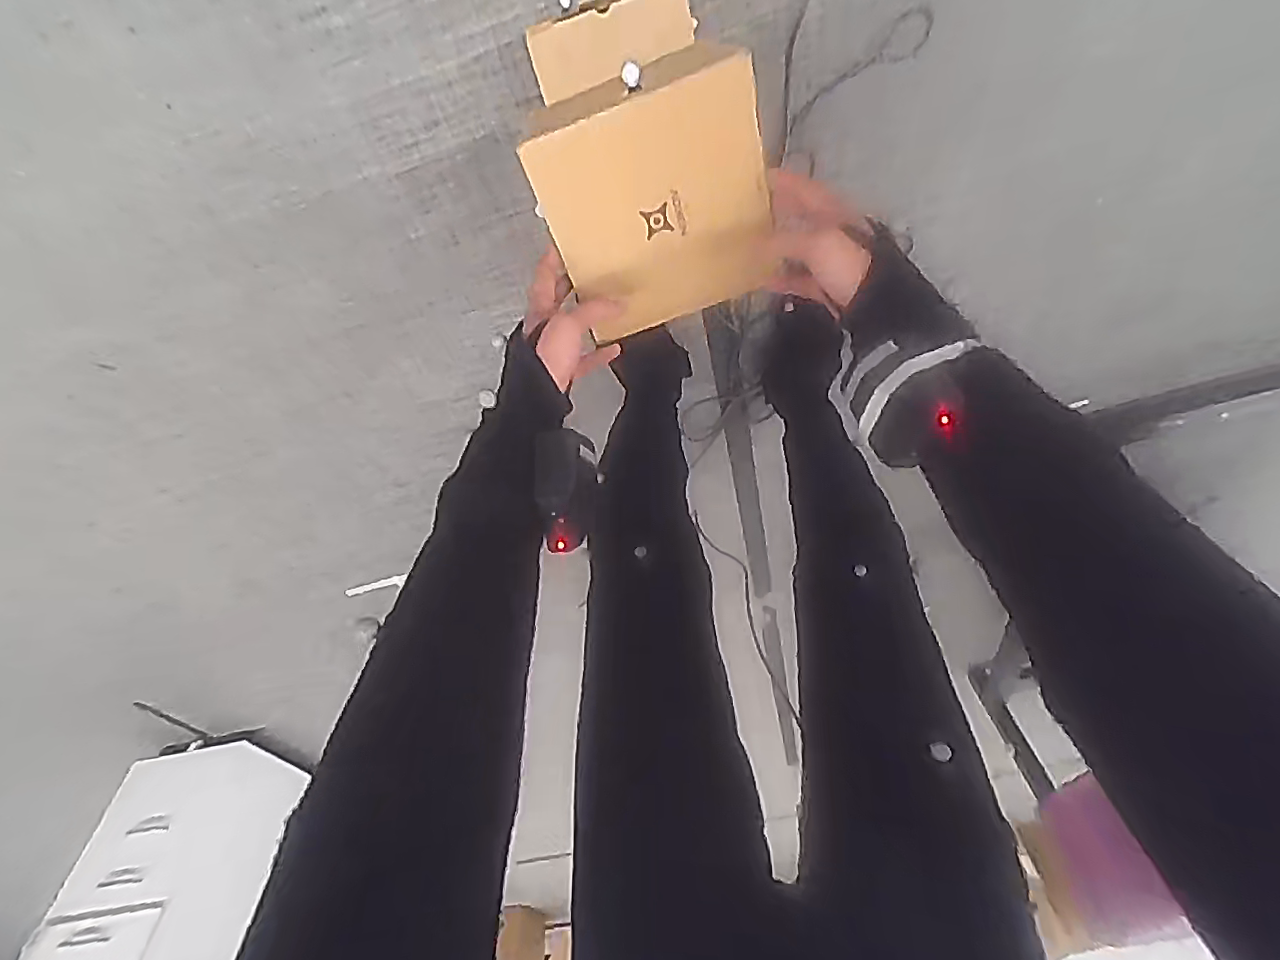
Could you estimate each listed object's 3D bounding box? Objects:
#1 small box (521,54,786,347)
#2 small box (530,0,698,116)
[{"bbox_3d":[0.012,-0.251,0.485,0.179,0.176,0.168,-18,130,7],"label":"small box"},{"bbox_3d":[-0.019,-0.448,0.637,0.168,0.176,0.179,-13,132,7],"label":"small box"}]
